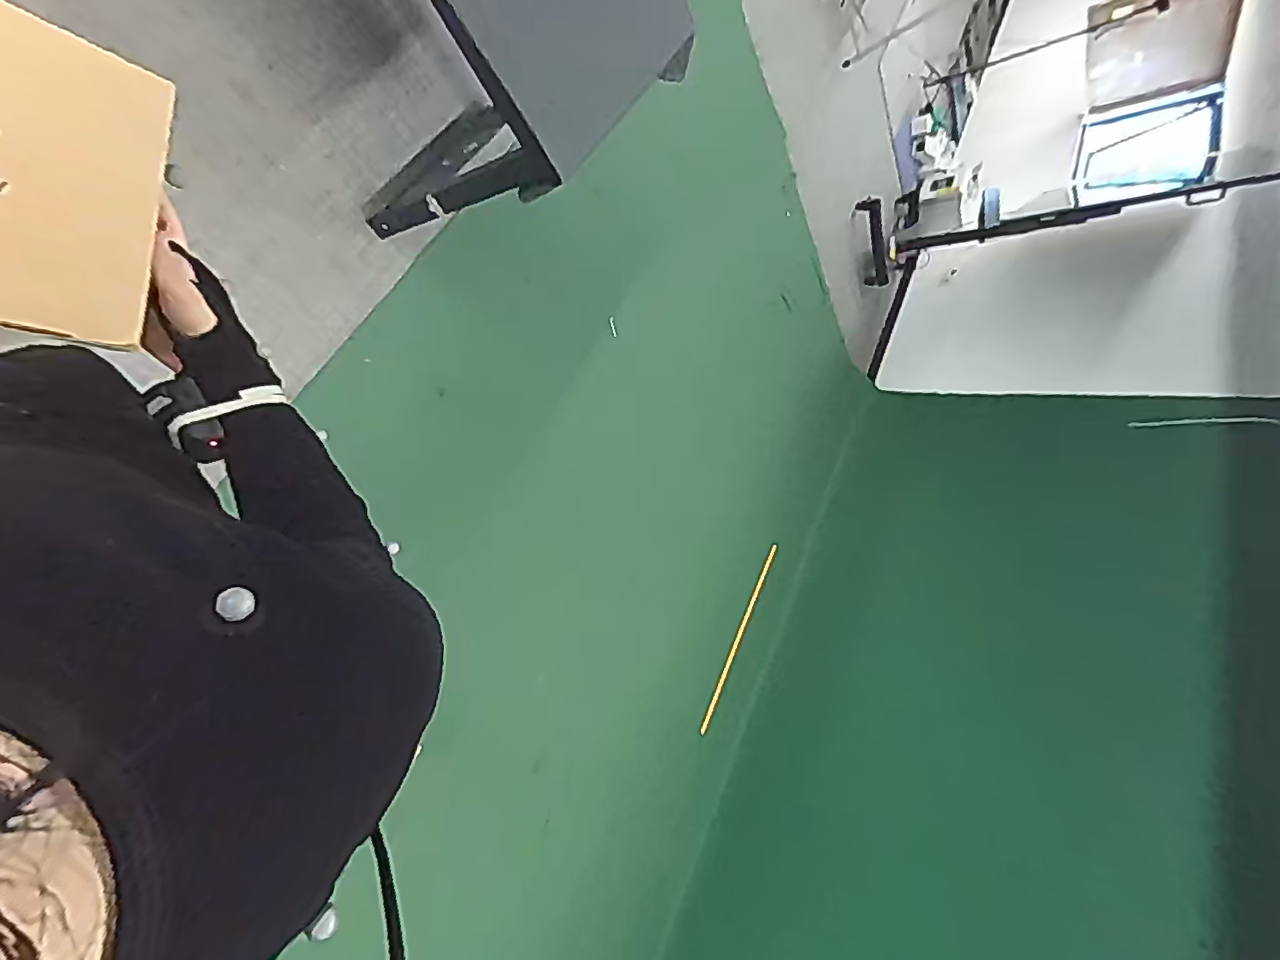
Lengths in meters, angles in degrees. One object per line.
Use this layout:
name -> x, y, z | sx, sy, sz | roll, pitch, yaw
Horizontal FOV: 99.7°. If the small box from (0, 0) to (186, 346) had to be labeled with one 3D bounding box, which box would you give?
small box -> -0.419, -0.192, 0.334 | 0.168, 0.176, 0.179 | 10, 91, -51
